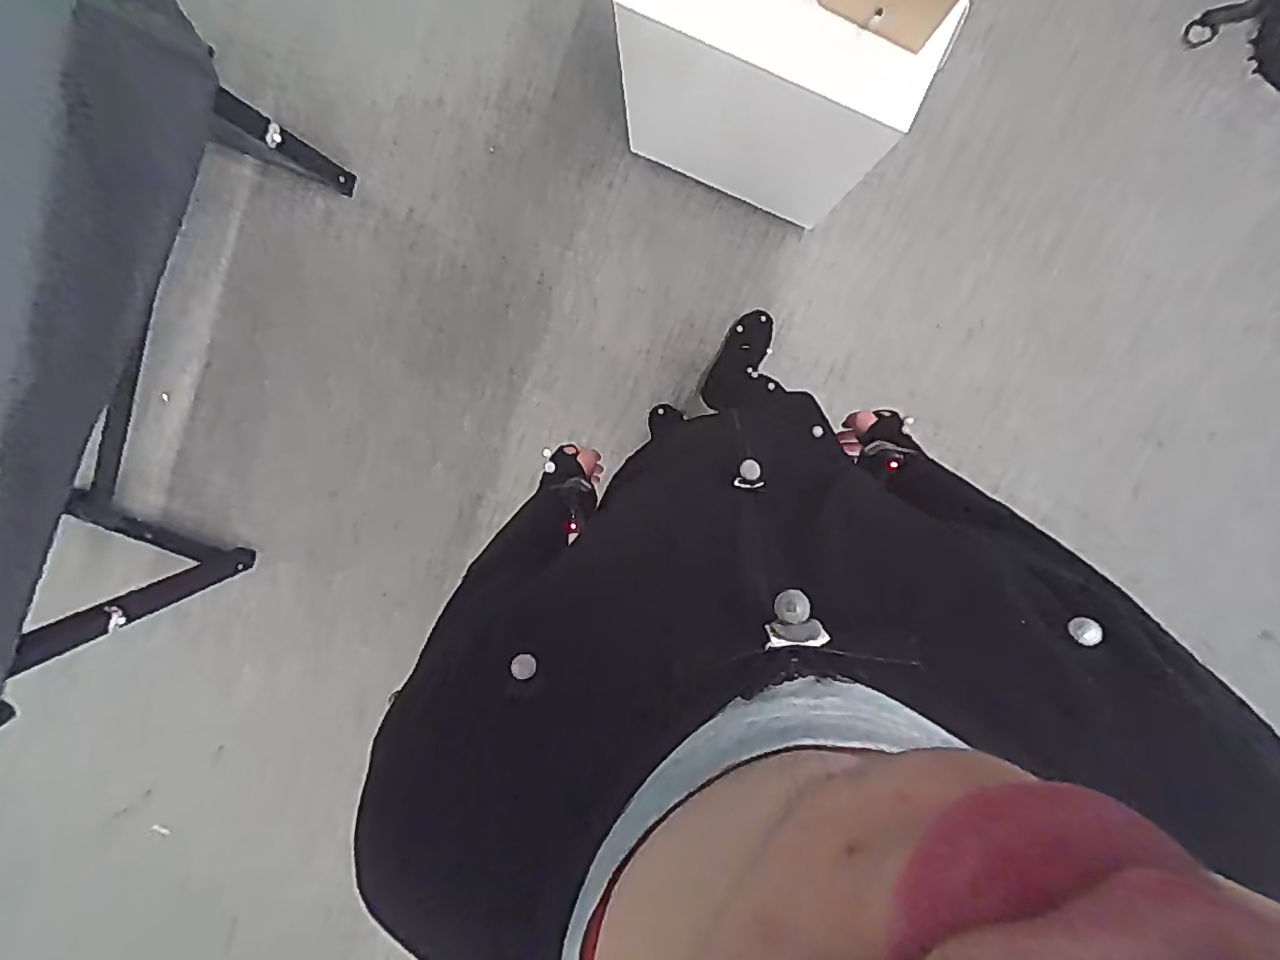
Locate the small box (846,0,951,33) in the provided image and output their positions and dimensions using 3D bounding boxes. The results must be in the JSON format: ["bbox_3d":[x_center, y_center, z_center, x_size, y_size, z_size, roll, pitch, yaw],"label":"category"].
[{"bbox_3d":[0.380,-0.756,0.722,0.179,0.176,0.168,24,101,-4],"label":"small box"}]
